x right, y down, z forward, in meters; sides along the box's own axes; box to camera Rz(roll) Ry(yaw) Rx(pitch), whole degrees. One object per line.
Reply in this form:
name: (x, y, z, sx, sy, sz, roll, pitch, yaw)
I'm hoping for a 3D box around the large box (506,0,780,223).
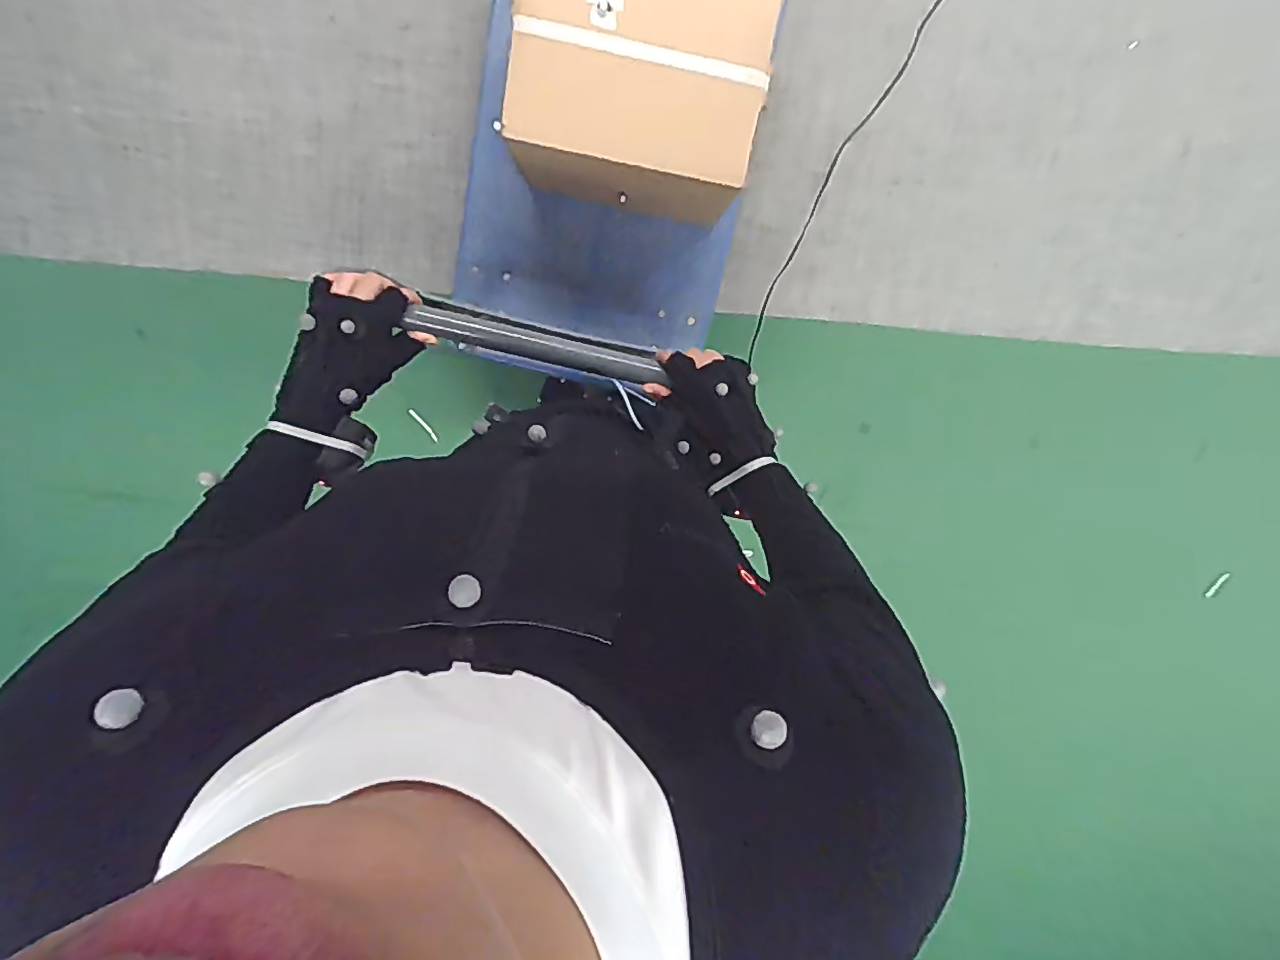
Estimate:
large box: (-0.001, -0.700, 0.996, 0.408, 0.320, 0.320, 10, 102, -4)
